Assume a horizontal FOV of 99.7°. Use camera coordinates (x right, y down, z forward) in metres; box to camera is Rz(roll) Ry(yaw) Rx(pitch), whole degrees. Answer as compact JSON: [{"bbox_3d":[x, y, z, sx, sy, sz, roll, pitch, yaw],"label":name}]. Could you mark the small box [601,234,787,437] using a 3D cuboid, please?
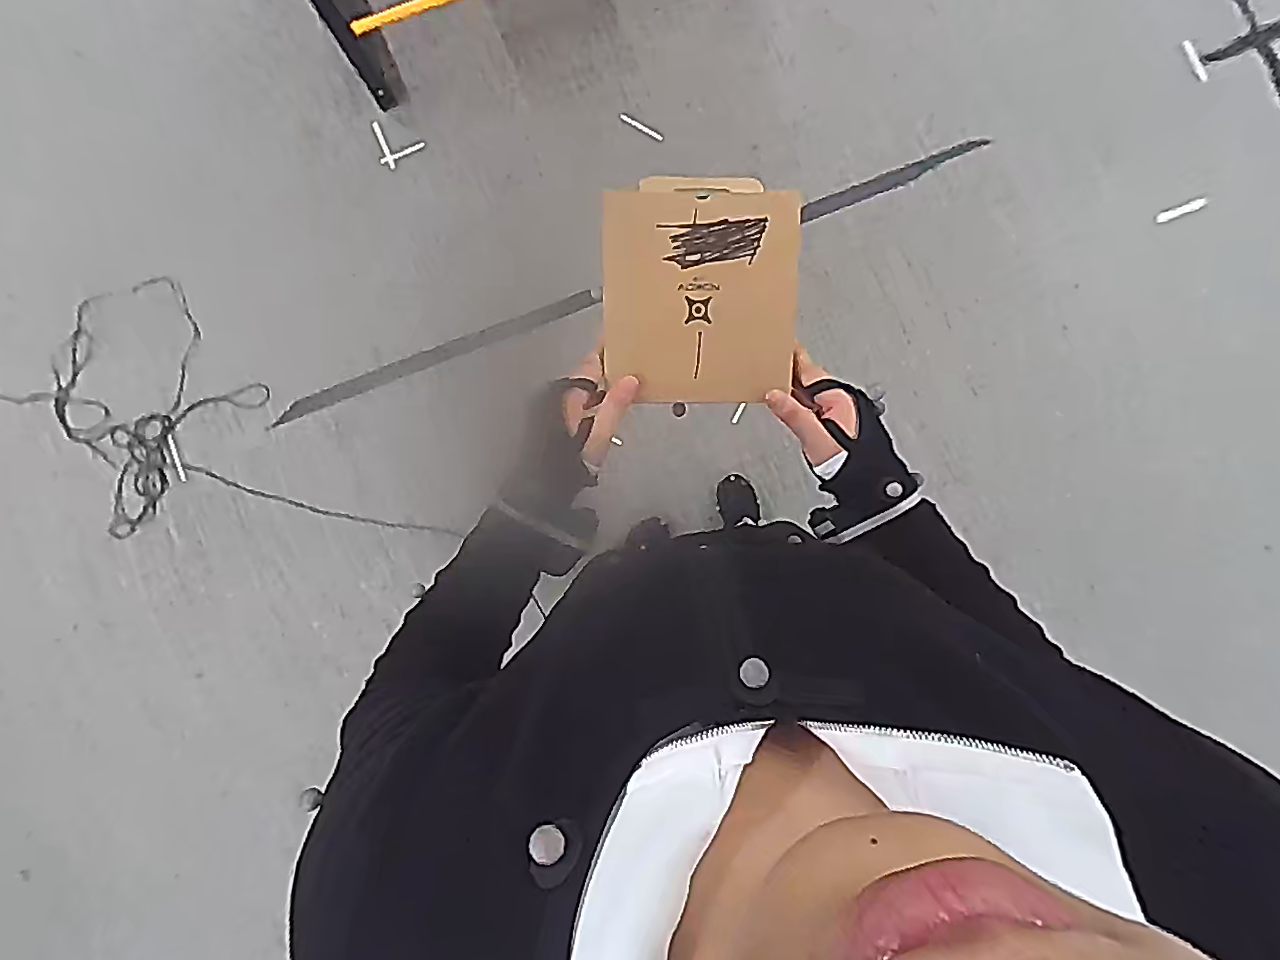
[{"bbox_3d":[0.044,-0.138,0.556,0.168,0.176,0.179,-1,100,-1],"label":"small box"}]
